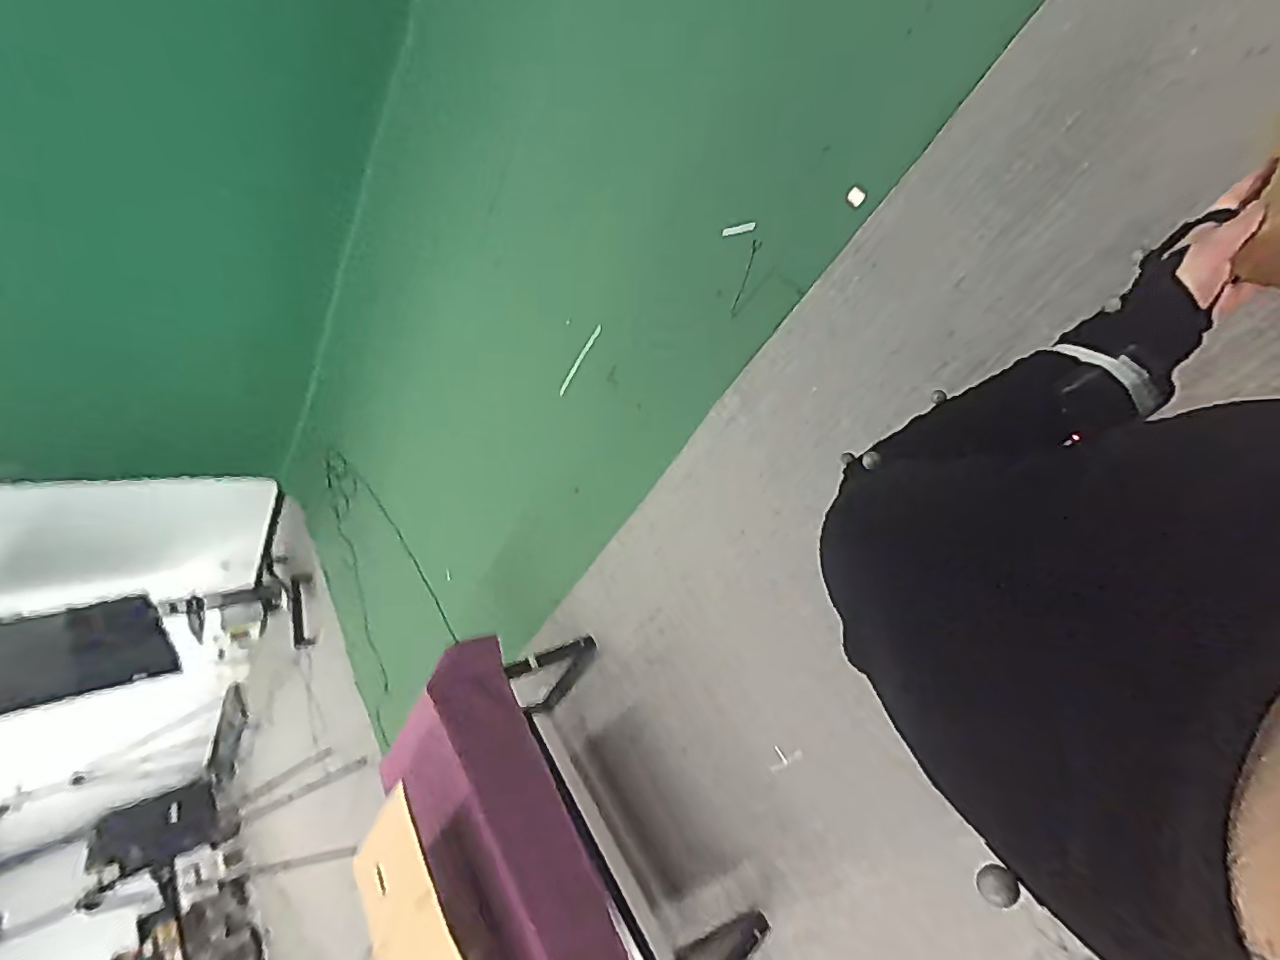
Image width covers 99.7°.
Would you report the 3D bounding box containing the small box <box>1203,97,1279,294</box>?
[{"bbox_3d":[0.541,-0.218,0.337,0.179,0.168,0.176,28,81,13],"label":"small box"}]
